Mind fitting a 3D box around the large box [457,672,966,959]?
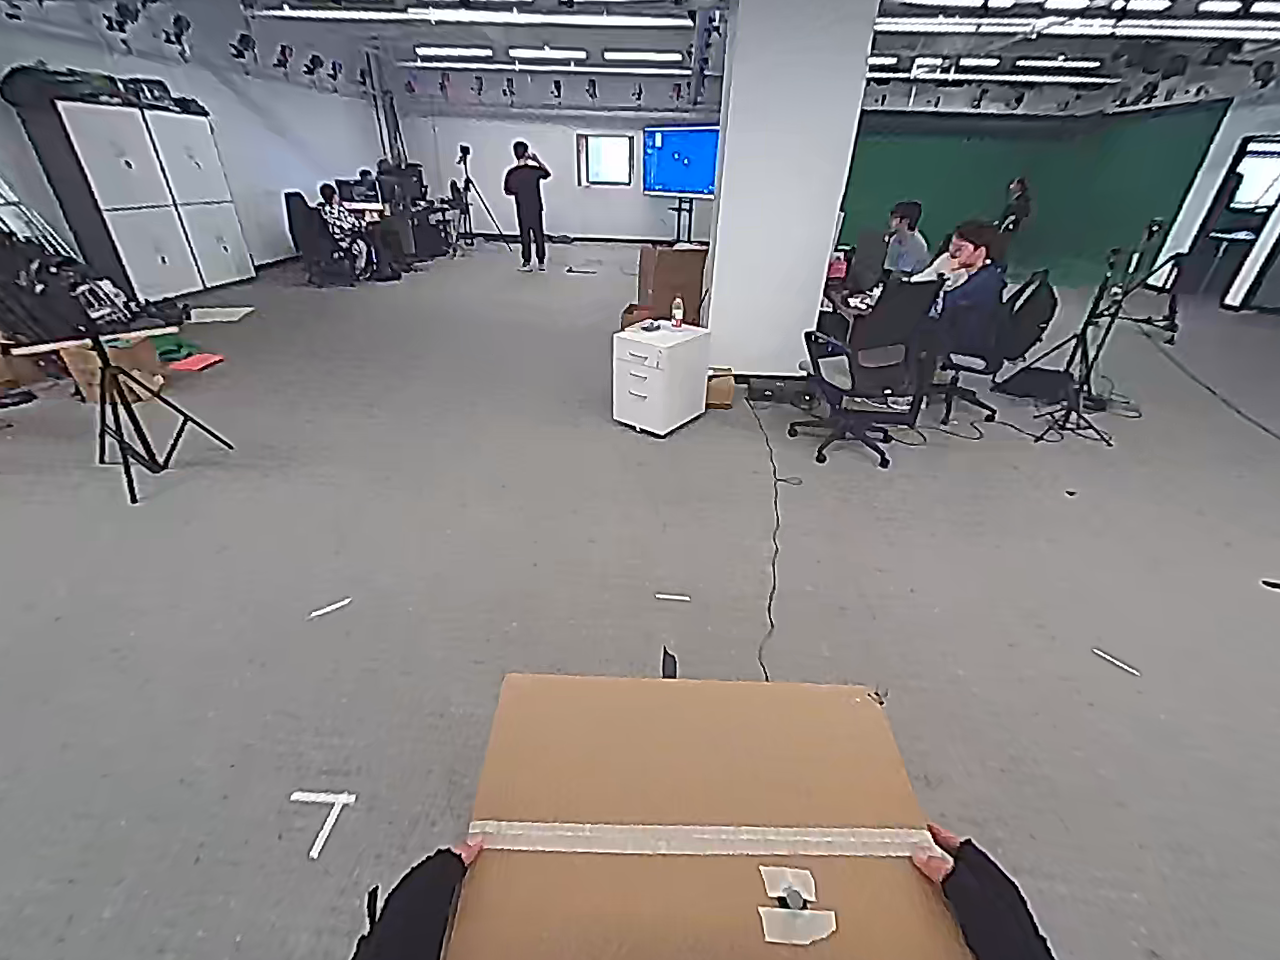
[{"bbox_3d":[0.049,0.433,0.576,0.408,0.320,0.320,3,38,-1],"label":"large box"}]
